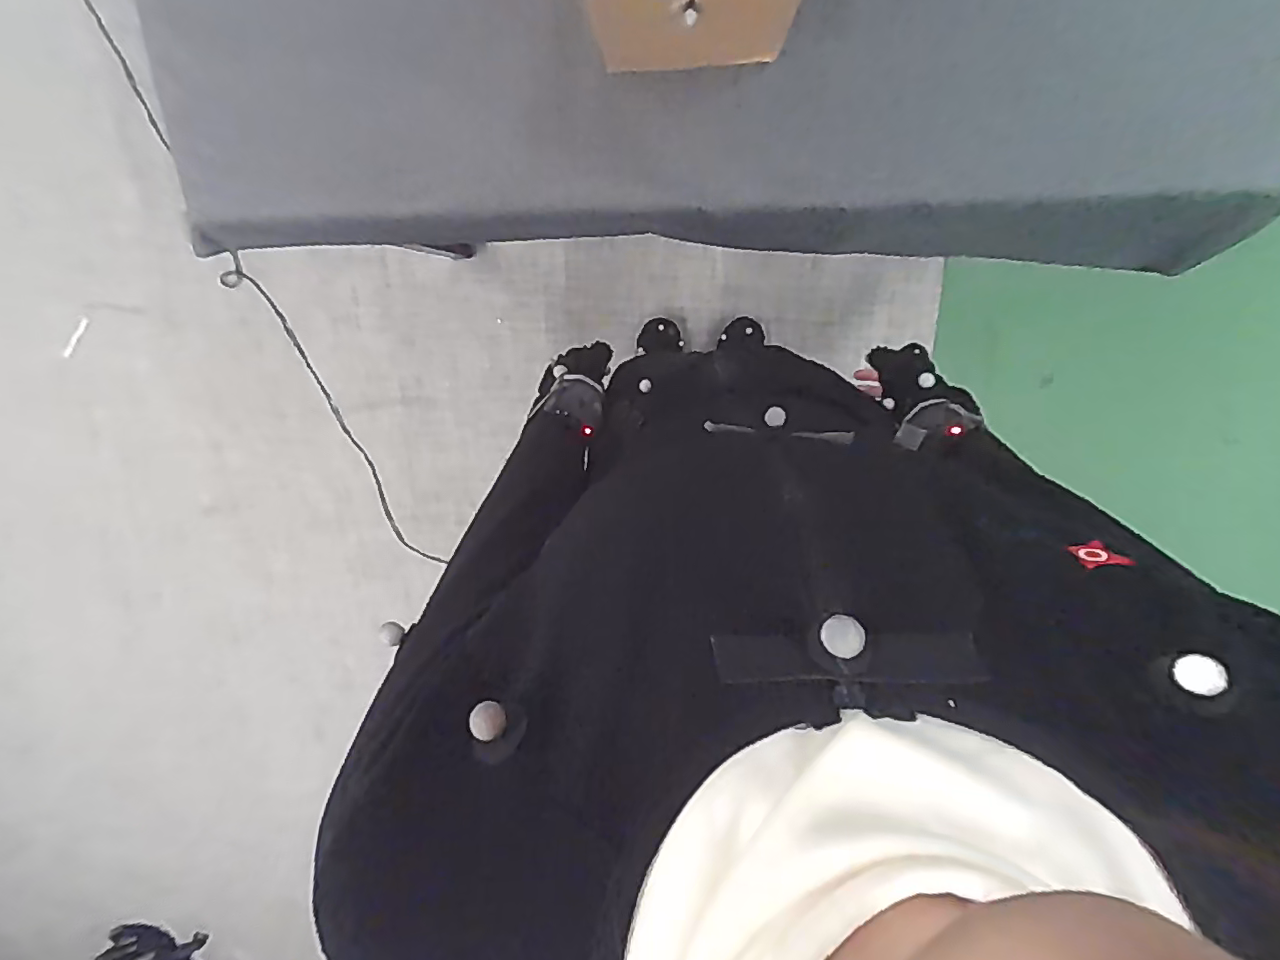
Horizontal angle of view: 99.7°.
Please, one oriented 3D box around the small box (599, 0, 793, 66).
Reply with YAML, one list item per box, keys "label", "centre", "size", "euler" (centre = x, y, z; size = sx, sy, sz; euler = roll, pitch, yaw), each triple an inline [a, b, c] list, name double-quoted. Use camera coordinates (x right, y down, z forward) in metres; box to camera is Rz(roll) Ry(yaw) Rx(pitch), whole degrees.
- label: "small box"
  centre: [0.048, -0.483, 0.460]
  size: [0.179, 0.176, 0.168]
  euler: [-1, 109, 3]
